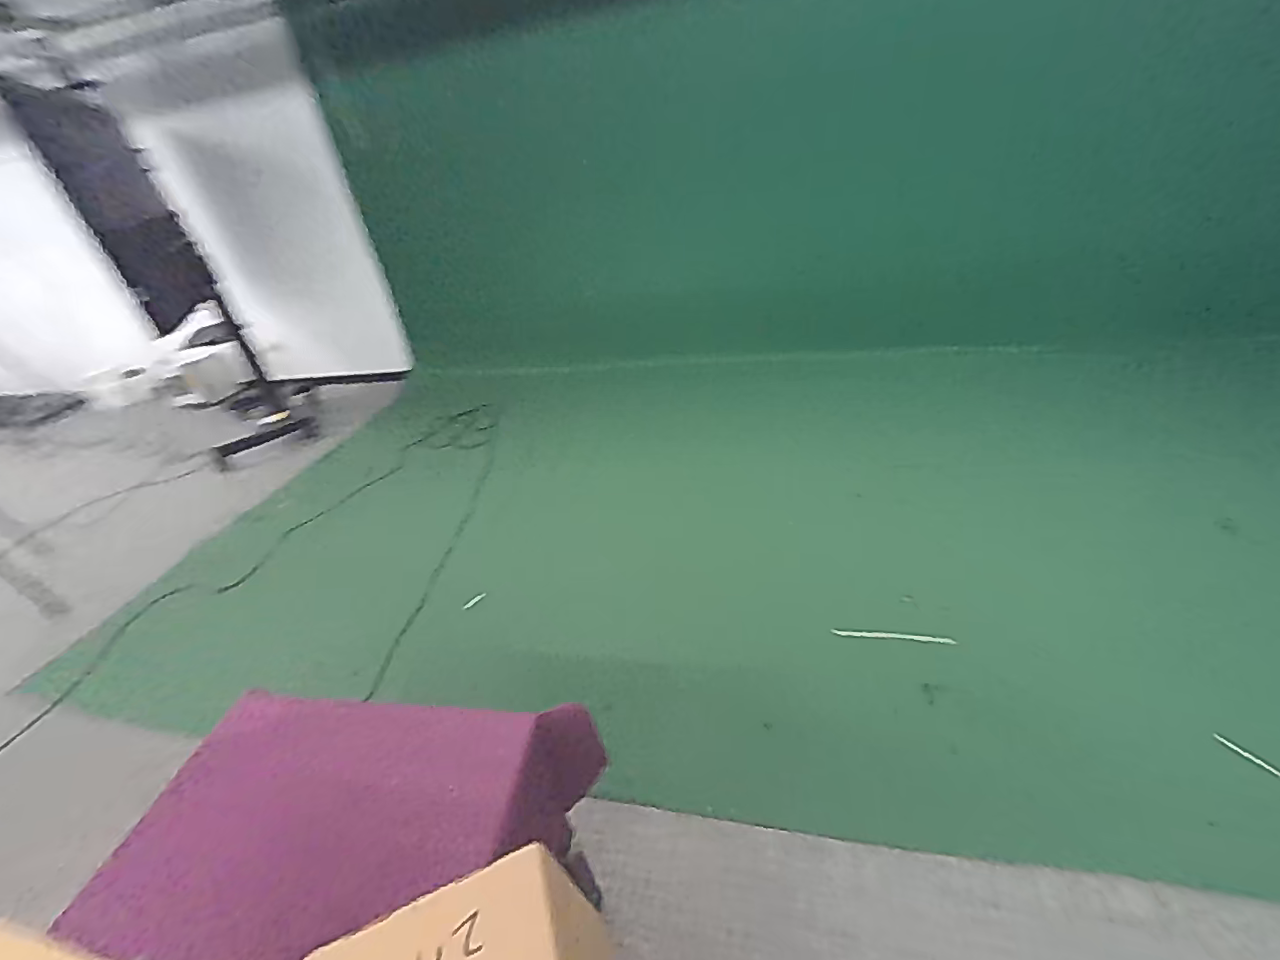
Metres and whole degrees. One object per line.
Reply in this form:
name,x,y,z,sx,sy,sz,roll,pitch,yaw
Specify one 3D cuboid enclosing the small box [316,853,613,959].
small box,-0.095,0.390,0.337,0.168,0.176,0.179,-22,34,-8
